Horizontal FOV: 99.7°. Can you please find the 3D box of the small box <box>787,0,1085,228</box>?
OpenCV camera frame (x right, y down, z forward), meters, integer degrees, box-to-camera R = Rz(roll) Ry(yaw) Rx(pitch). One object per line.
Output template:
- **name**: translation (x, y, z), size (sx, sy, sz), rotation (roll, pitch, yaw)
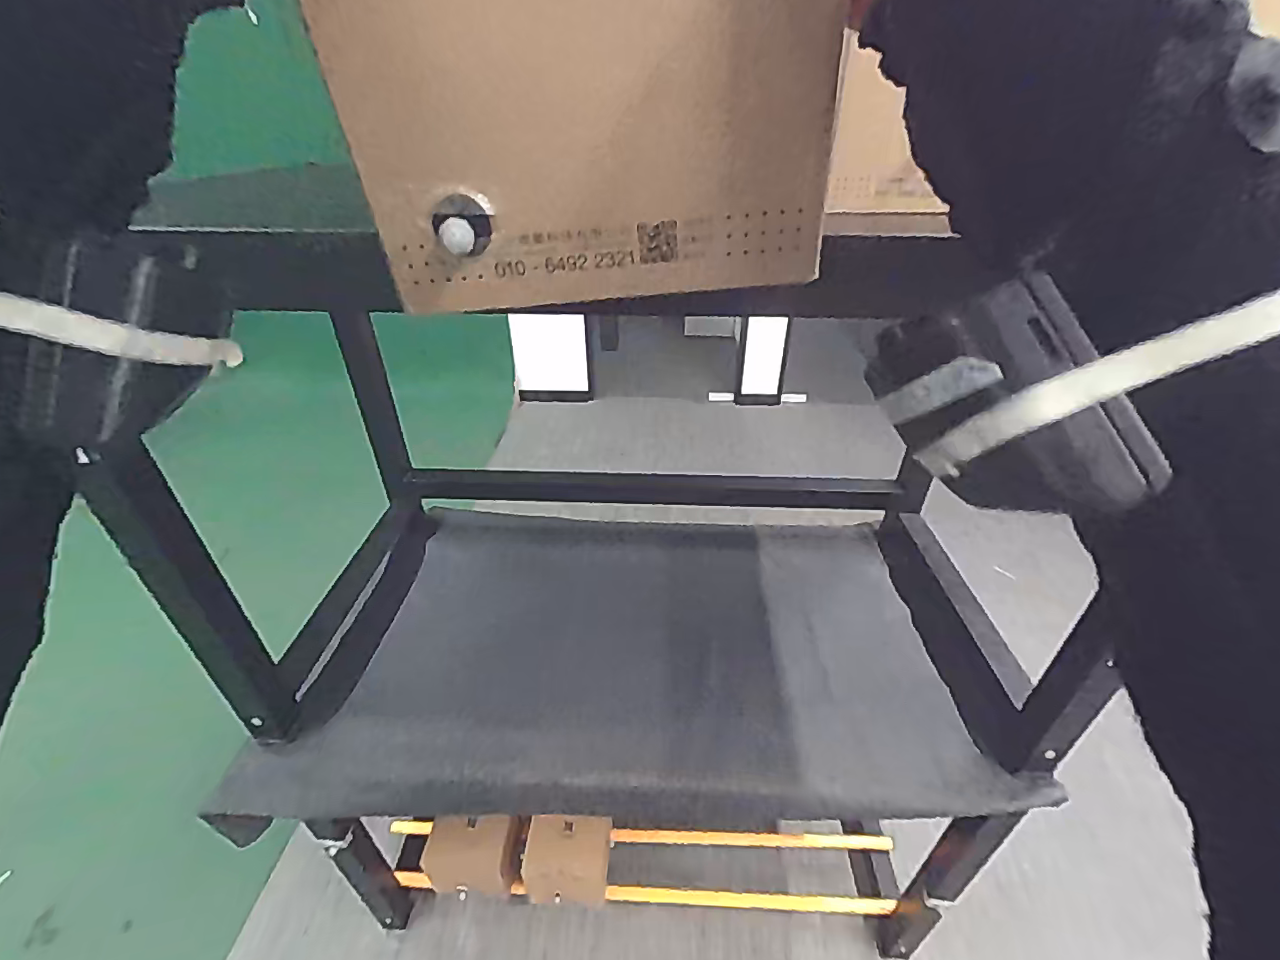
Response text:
- **small box**: translation (0.239, -0.336, 0.490), size (0.168, 0.176, 0.179), rotation (1, 34, 2)
